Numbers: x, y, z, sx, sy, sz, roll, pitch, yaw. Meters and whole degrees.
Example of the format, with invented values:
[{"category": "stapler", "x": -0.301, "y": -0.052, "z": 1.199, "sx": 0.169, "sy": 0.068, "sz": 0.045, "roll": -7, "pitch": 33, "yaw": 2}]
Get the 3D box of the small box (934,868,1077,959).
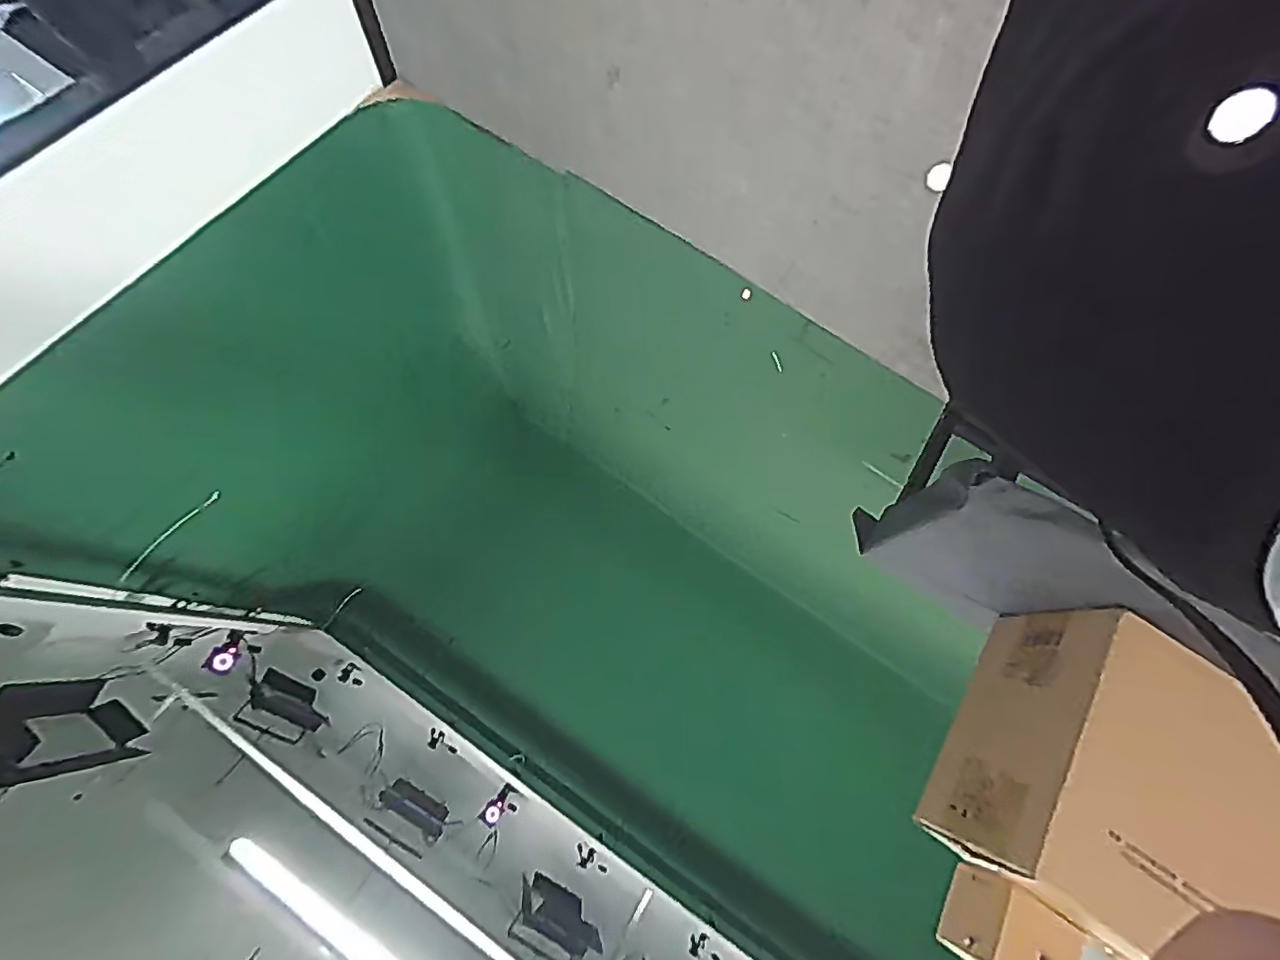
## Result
[{"category": "small box", "x": 0.783, "y": 0.985, "z": 1.157, "sx": 0.179, "sy": 0.176, "sz": 0.168, "roll": 35, "pitch": 155, "yaw": 4}]
